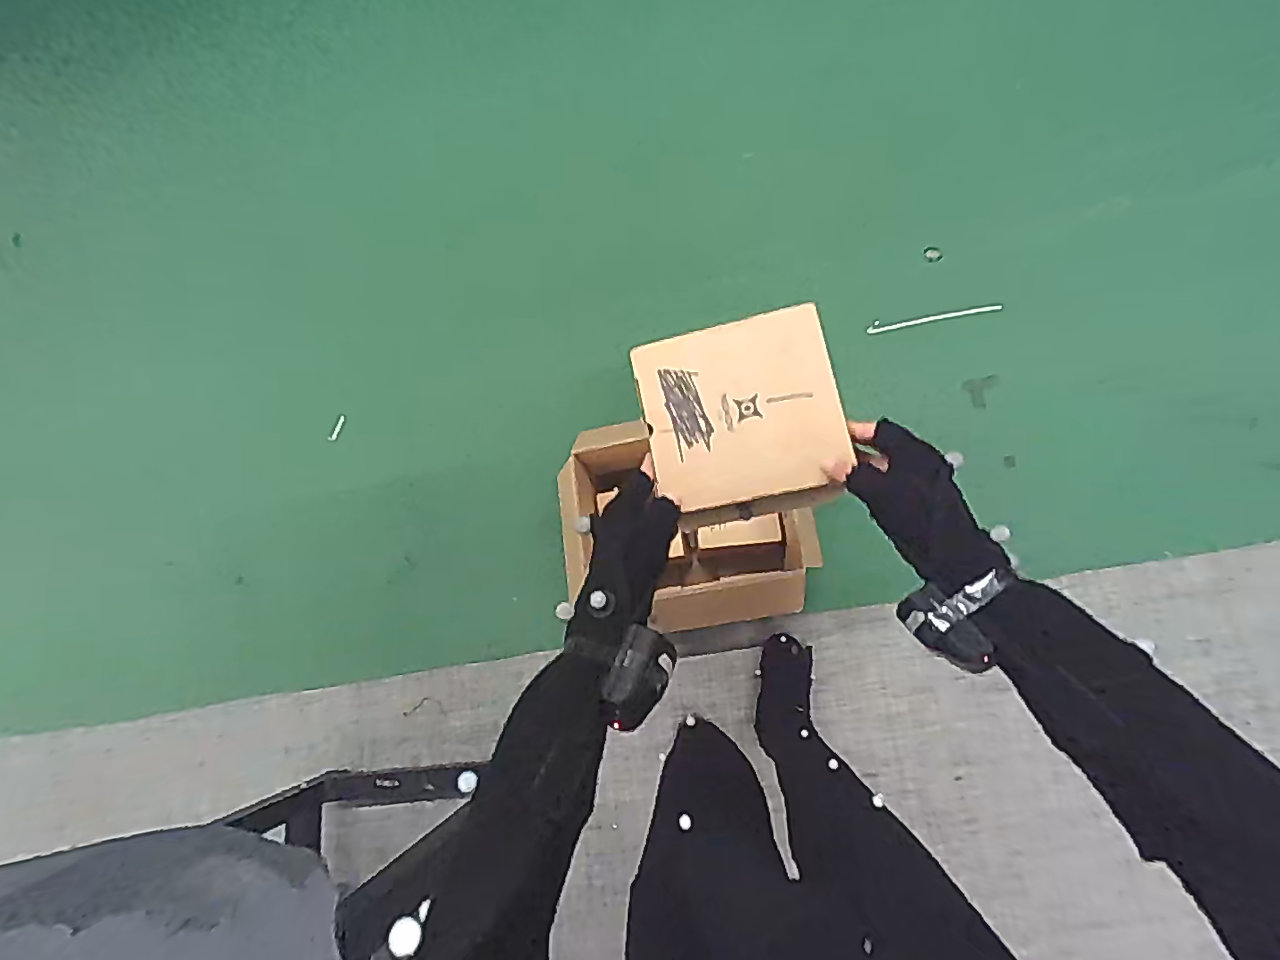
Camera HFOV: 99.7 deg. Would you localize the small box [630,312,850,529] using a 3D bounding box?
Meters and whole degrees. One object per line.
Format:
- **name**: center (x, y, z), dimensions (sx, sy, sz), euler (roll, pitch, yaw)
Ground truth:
- **small box**: center (0.101, -0.047, 0.569), dimensions (0.179, 0.176, 0.168), euler (-12, 79, 9)
